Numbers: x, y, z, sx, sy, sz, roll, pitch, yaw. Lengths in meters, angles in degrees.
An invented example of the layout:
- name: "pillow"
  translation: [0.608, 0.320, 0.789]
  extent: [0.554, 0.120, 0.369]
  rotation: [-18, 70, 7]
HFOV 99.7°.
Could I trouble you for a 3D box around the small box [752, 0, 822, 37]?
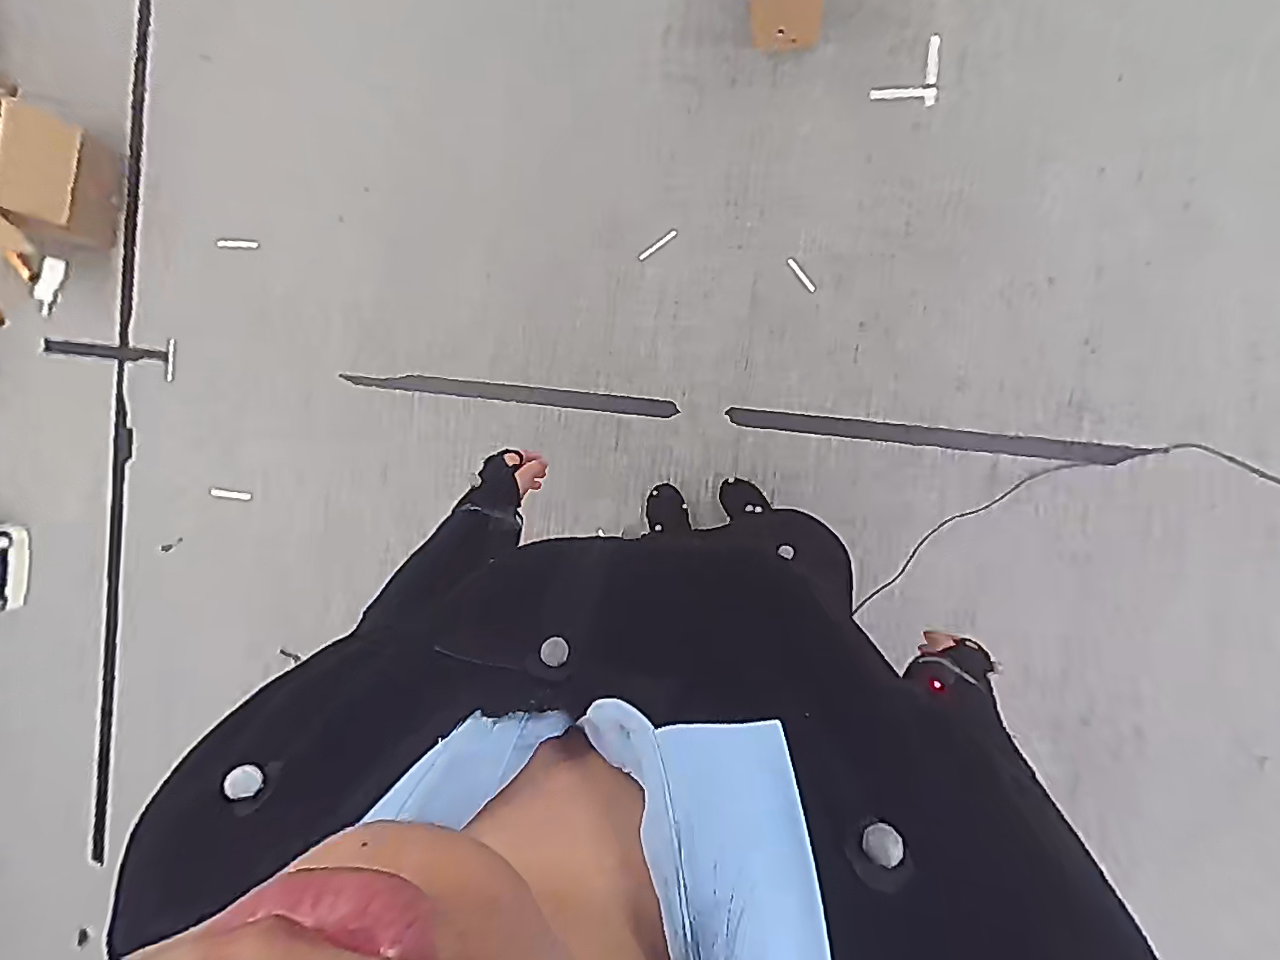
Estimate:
- name: "small box"
  translation: [0.366, -1.244, 1.328]
  extent: [0.168, 0.176, 0.179]
  rotation: [4, 93, 10]
